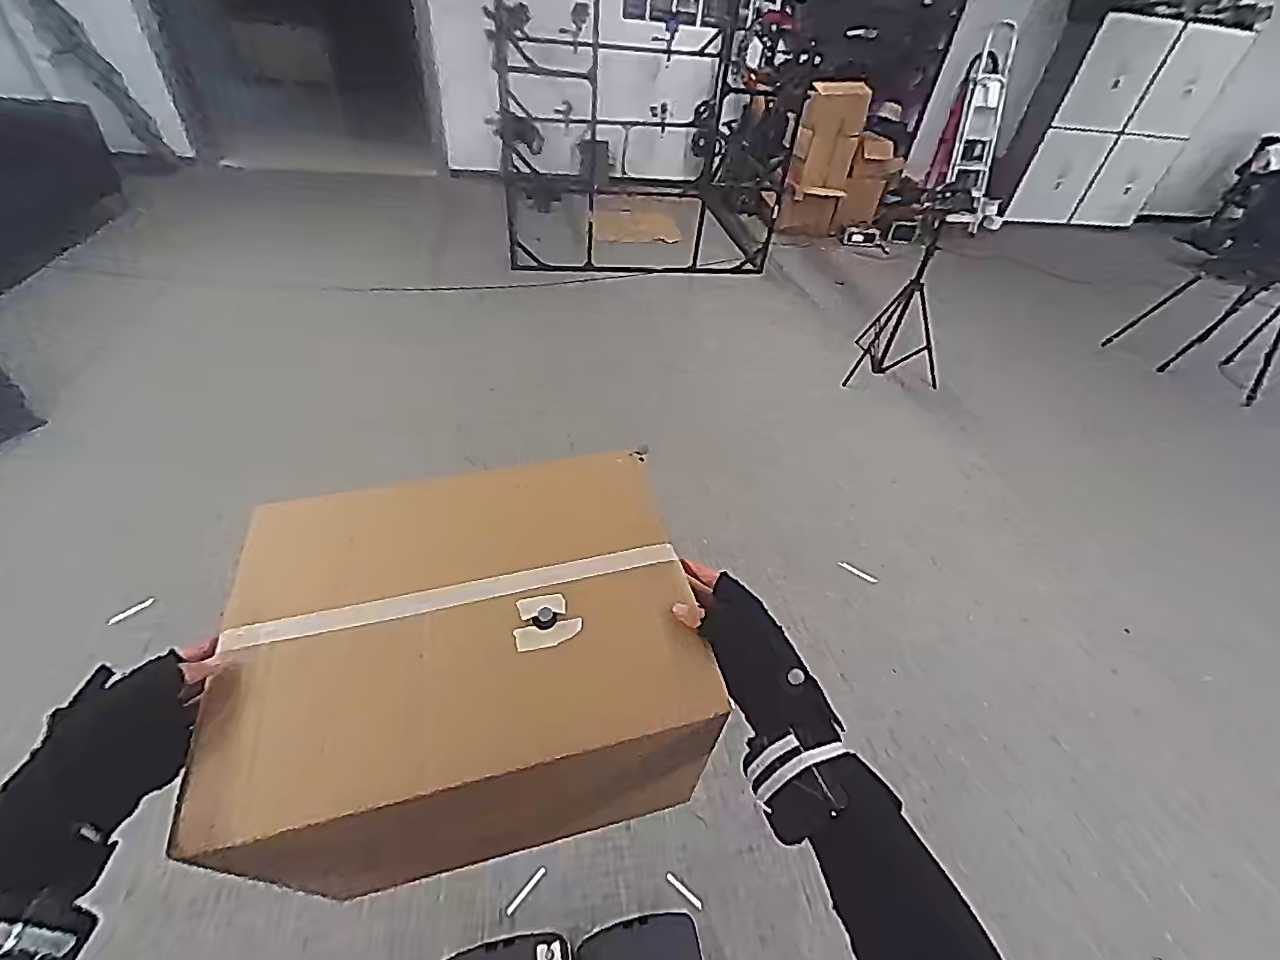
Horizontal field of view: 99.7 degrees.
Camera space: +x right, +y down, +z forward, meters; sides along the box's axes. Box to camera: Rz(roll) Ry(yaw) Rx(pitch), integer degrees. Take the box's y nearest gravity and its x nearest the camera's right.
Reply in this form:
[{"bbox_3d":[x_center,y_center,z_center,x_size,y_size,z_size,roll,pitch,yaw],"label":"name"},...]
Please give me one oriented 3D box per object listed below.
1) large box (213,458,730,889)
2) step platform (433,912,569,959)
[{"bbox_3d":[-0.158,0.212,0.625,0.408,0.320,0.320,-8,49,-12],"label":"large box"},{"bbox_3d":[-0.244,1.231,0.991,0.286,0.204,0.684,-4,42,-12],"label":"step platform"}]
